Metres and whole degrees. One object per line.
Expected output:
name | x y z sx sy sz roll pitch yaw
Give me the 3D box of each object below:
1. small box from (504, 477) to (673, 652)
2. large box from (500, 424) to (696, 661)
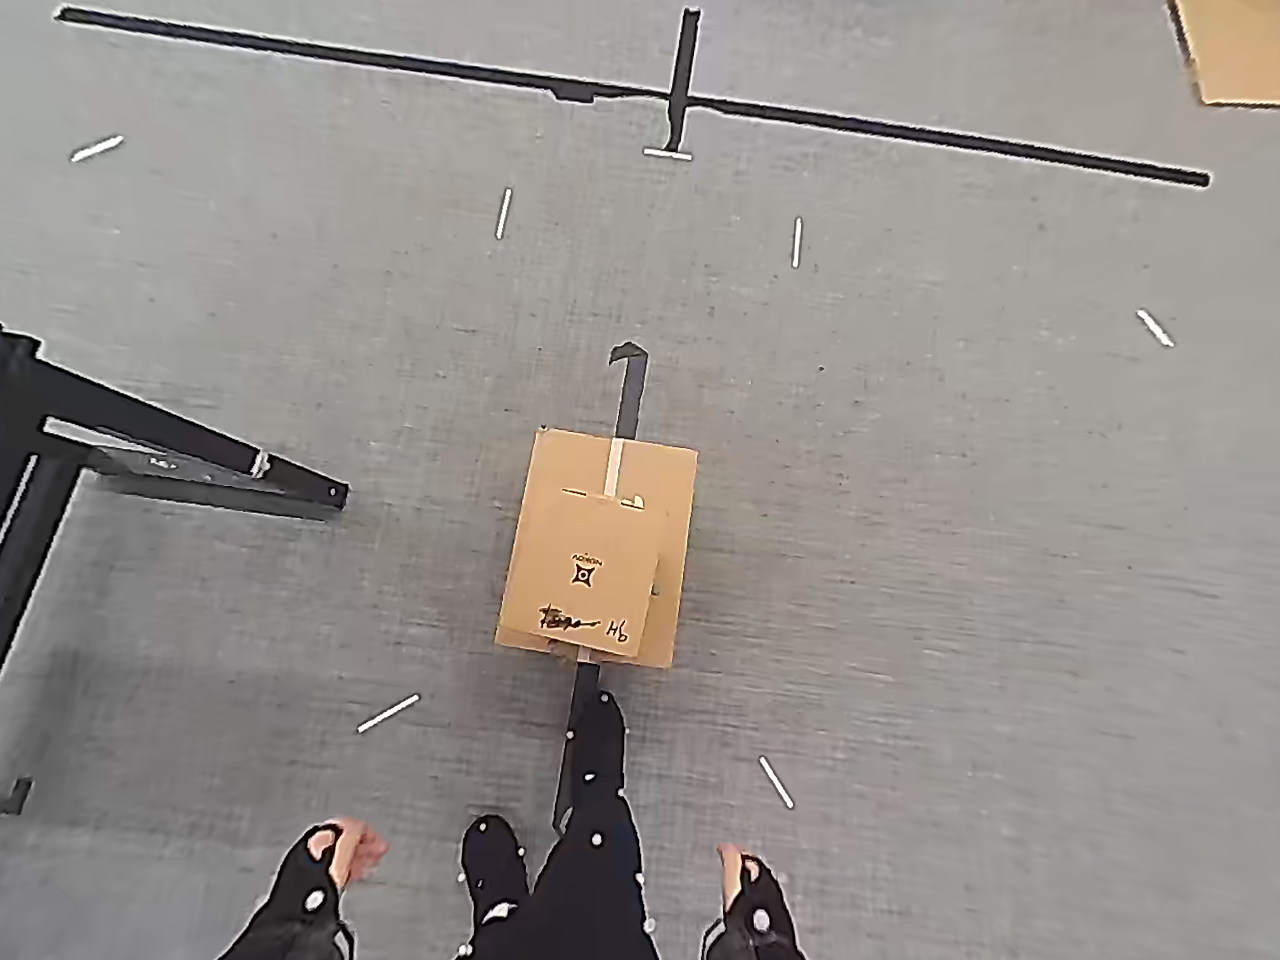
small box | -0.061 0.115 0.714 0.168 0.176 0.179 14 76 2
large box | -0.076 0.141 1.126 0.320 0.320 0.408 9 76 -2
